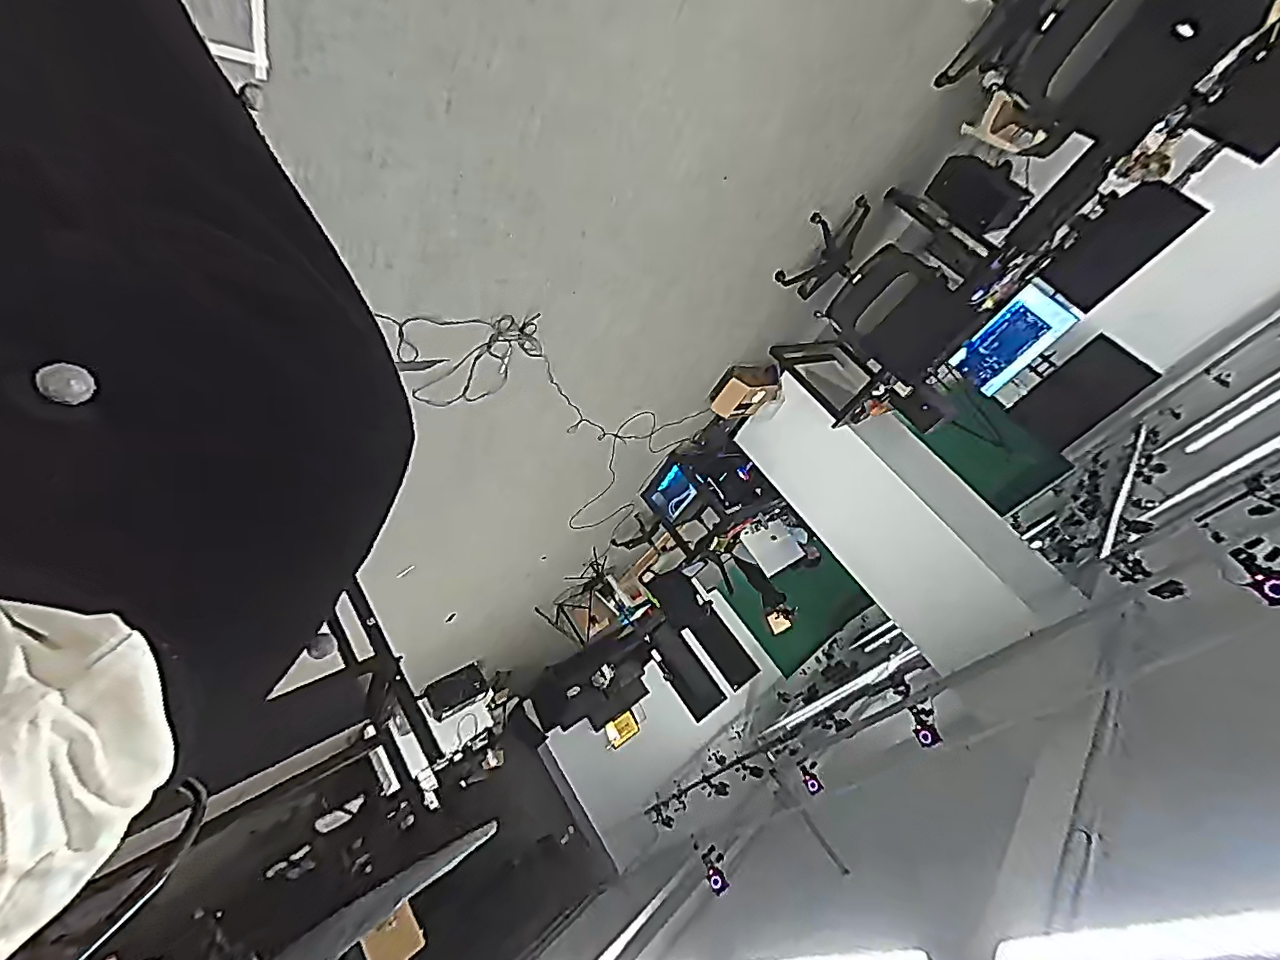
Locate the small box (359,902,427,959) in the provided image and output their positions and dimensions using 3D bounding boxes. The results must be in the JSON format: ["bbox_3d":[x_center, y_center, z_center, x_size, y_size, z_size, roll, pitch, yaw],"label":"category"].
[{"bbox_3d":[-0.888,1.657,1.934,0.168,0.176,0.179,-22,154,-39],"label":"small box"}]
